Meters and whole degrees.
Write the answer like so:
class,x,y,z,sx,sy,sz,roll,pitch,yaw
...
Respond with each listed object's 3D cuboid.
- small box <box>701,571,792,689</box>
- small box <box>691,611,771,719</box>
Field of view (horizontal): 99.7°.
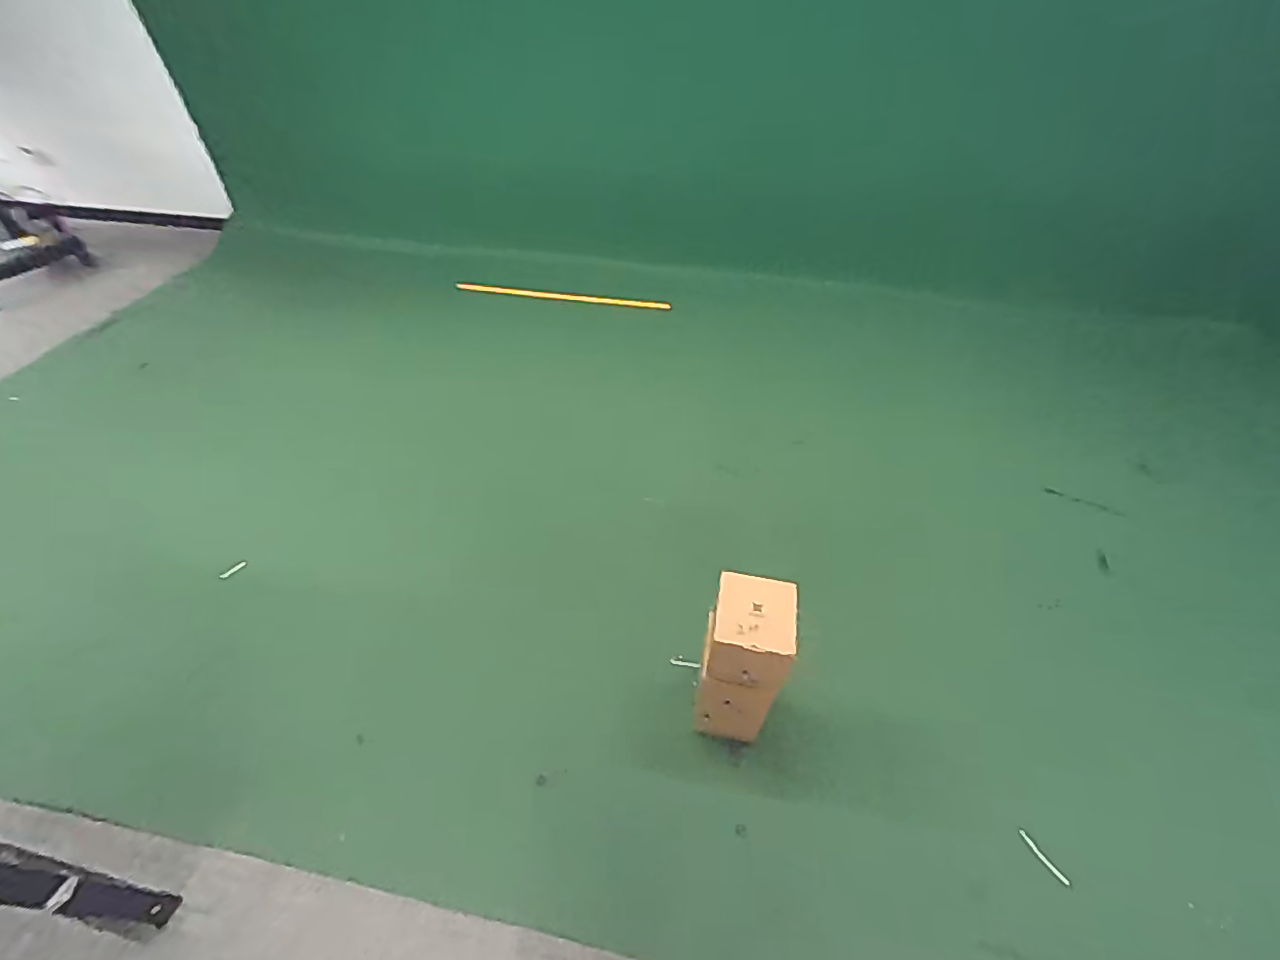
class,x,y,z,sx,sy,sz,roll,pitch,yaw
small box,0.232,0.331,1.191,0.168,0.176,0.179,9,47,7
small box,0.219,0.448,1.307,0.168,0.176,0.179,9,46,6
